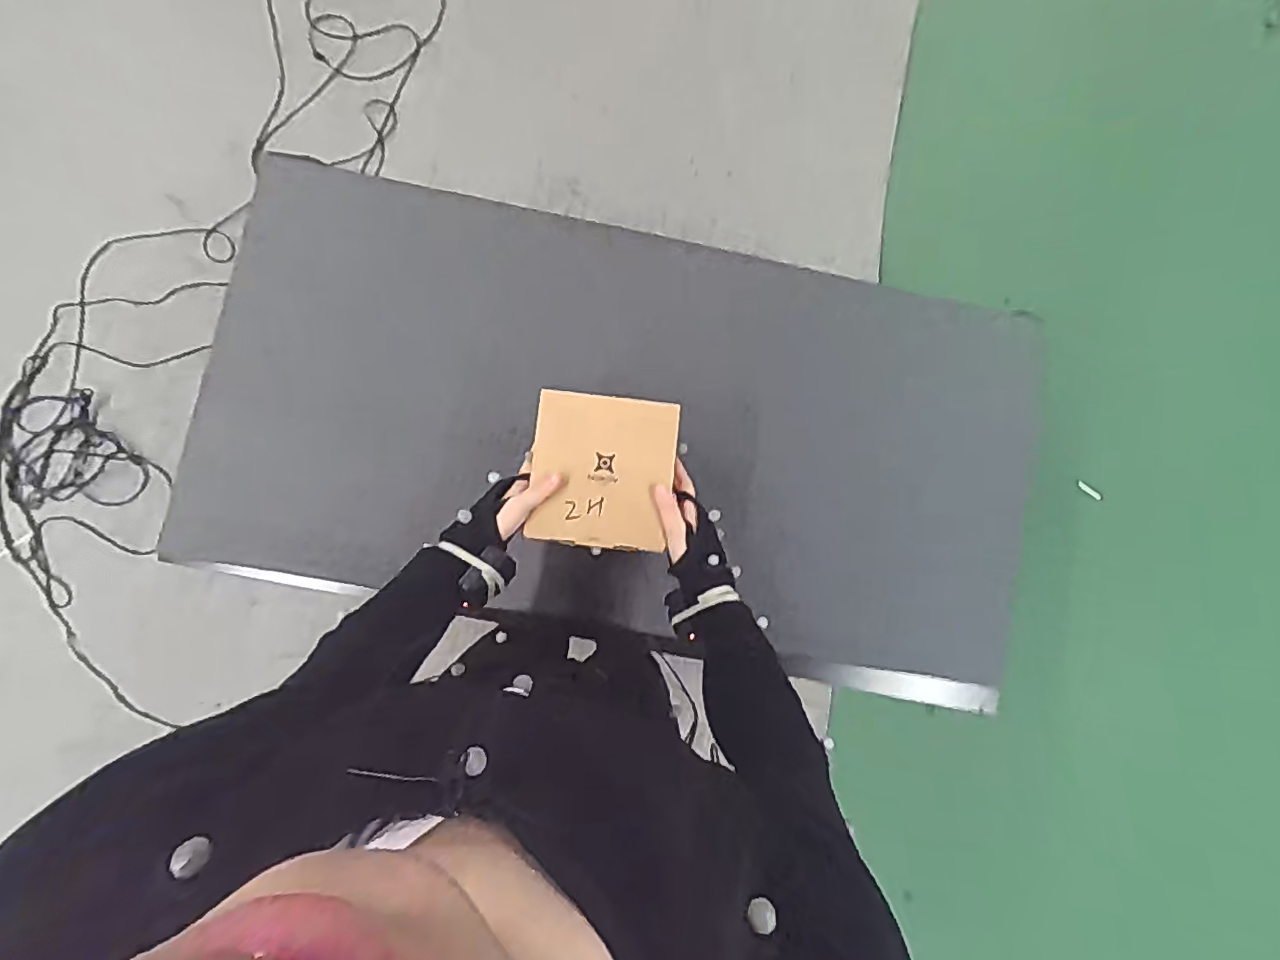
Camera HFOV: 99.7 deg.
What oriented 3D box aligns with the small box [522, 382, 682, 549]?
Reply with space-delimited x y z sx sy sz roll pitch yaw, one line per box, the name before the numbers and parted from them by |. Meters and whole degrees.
small box | -0.045 -0.009 0.685 0.168 0.176 0.179 6 85 -2
